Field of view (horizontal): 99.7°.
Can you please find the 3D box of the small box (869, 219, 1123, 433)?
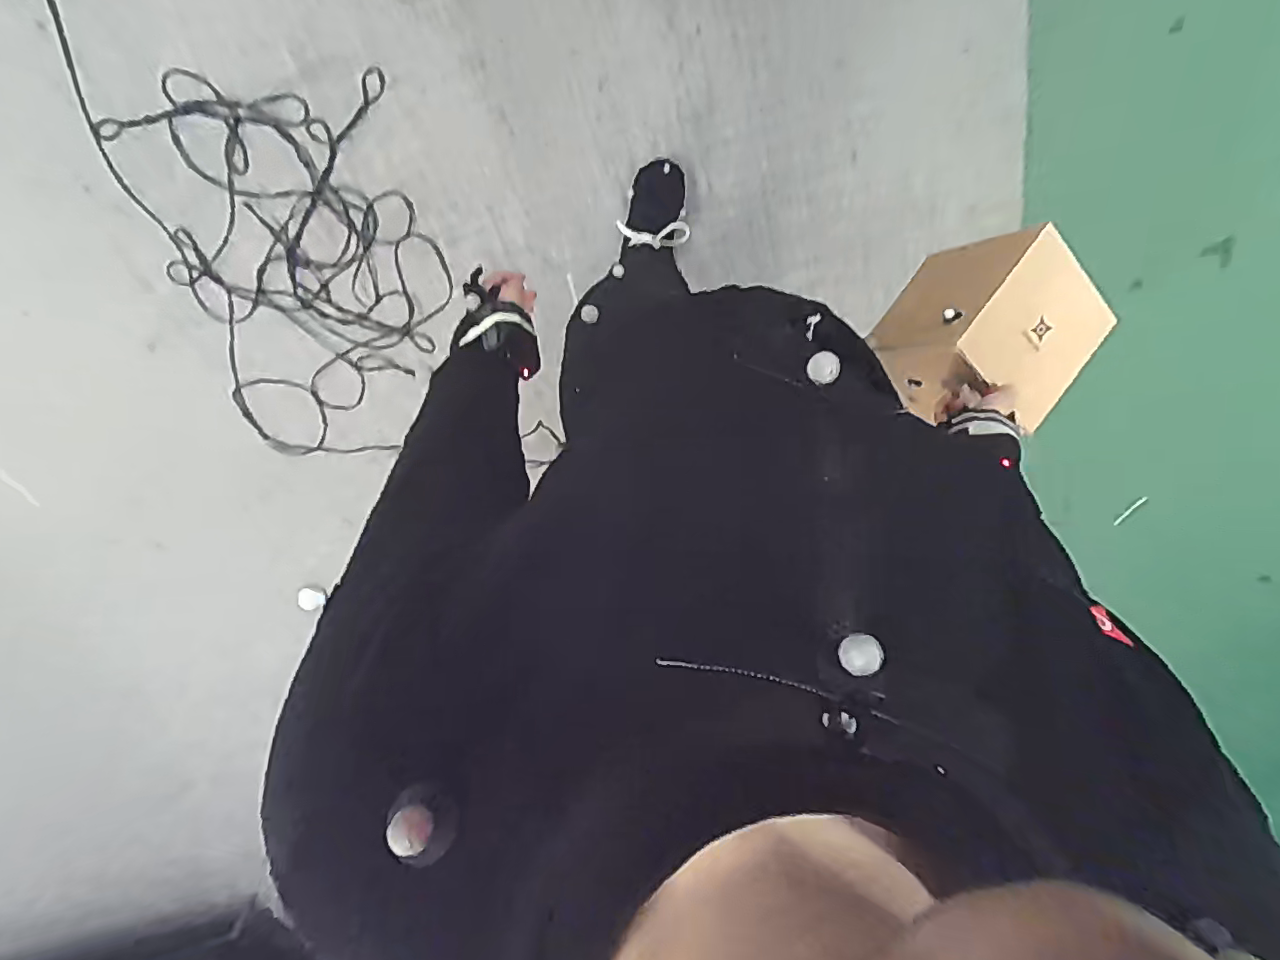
[{"bbox_3d":[0.432,-0.184,0.679,0.168,0.176,0.179,36,90,-19],"label":"small box"}]
